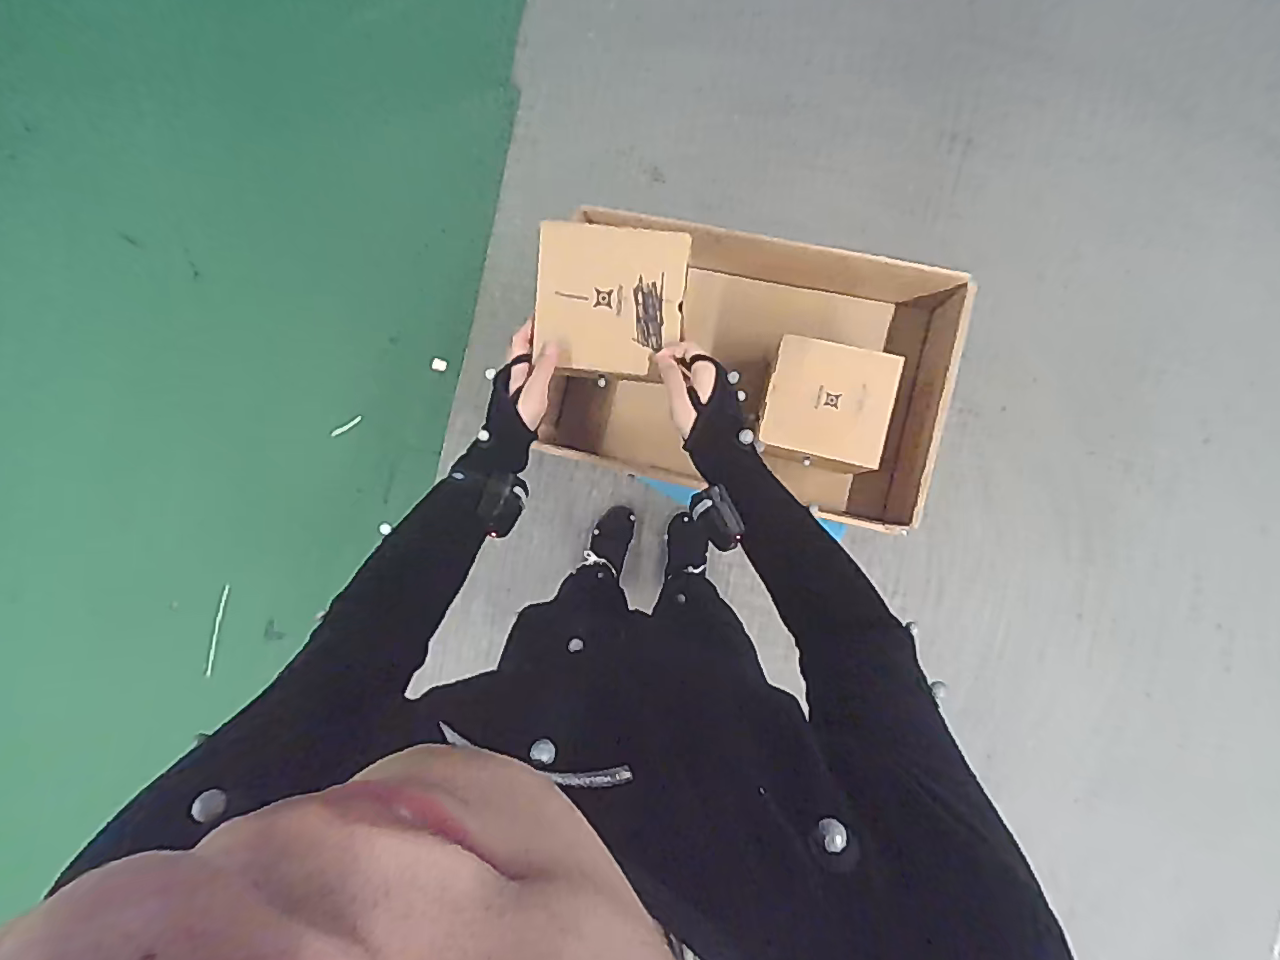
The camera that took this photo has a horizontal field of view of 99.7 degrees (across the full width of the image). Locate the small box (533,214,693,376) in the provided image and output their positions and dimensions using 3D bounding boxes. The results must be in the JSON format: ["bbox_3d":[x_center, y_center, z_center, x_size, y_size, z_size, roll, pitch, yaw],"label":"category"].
[{"bbox_3d":[-0.033,-0.226,0.702,0.179,0.176,0.168,5,98,0],"label":"small box"}]
